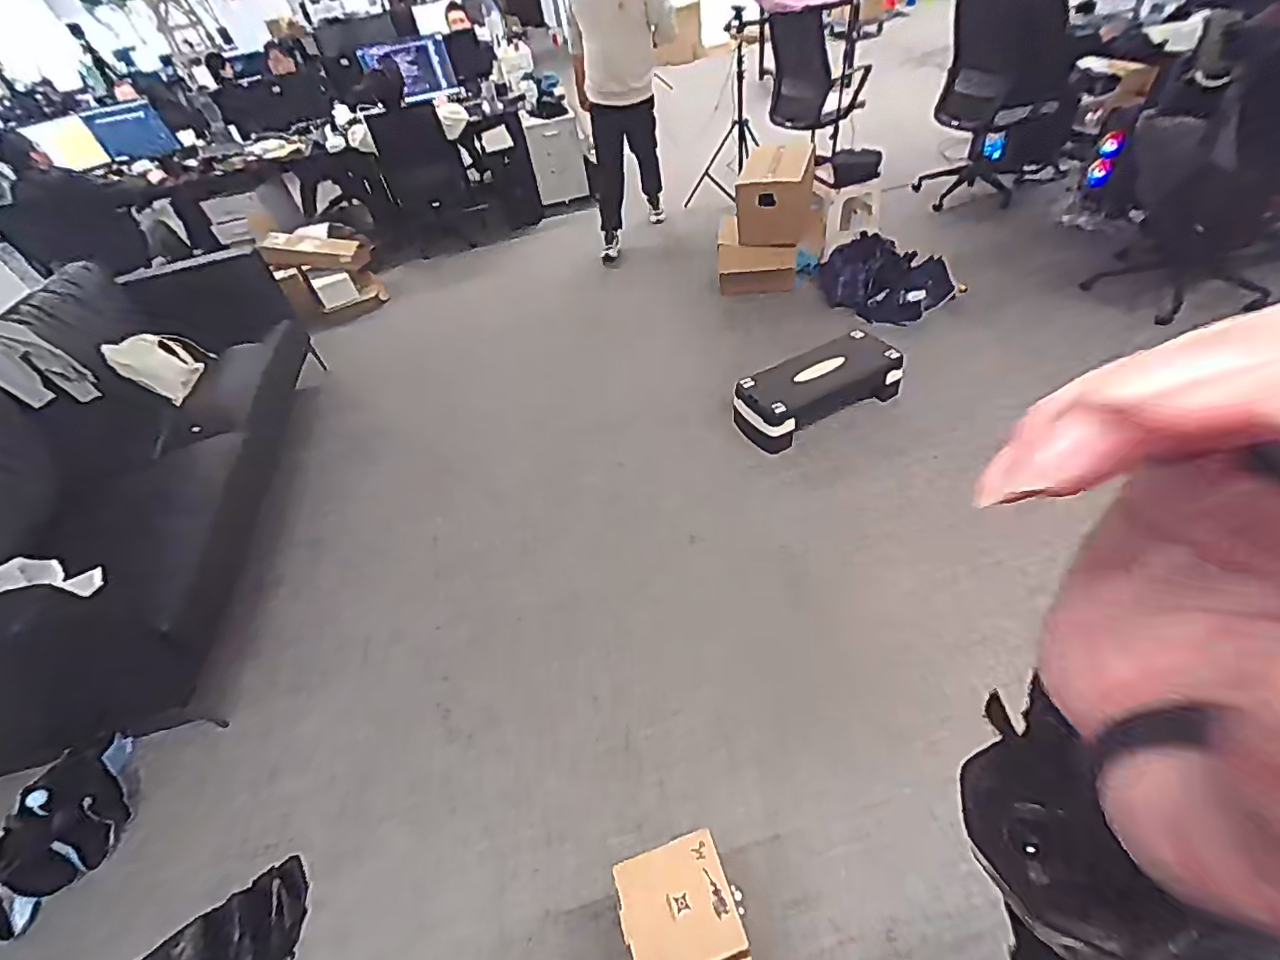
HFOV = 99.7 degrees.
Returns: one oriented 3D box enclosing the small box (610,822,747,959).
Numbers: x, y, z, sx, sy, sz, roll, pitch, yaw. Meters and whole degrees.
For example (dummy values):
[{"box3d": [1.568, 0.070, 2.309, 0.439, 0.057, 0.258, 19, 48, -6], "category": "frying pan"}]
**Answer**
[{"box3d": [0.067, 0.717, 0.911, 0.179, 0.176, 0.168, -20, 45, -5], "category": "small box"}]
